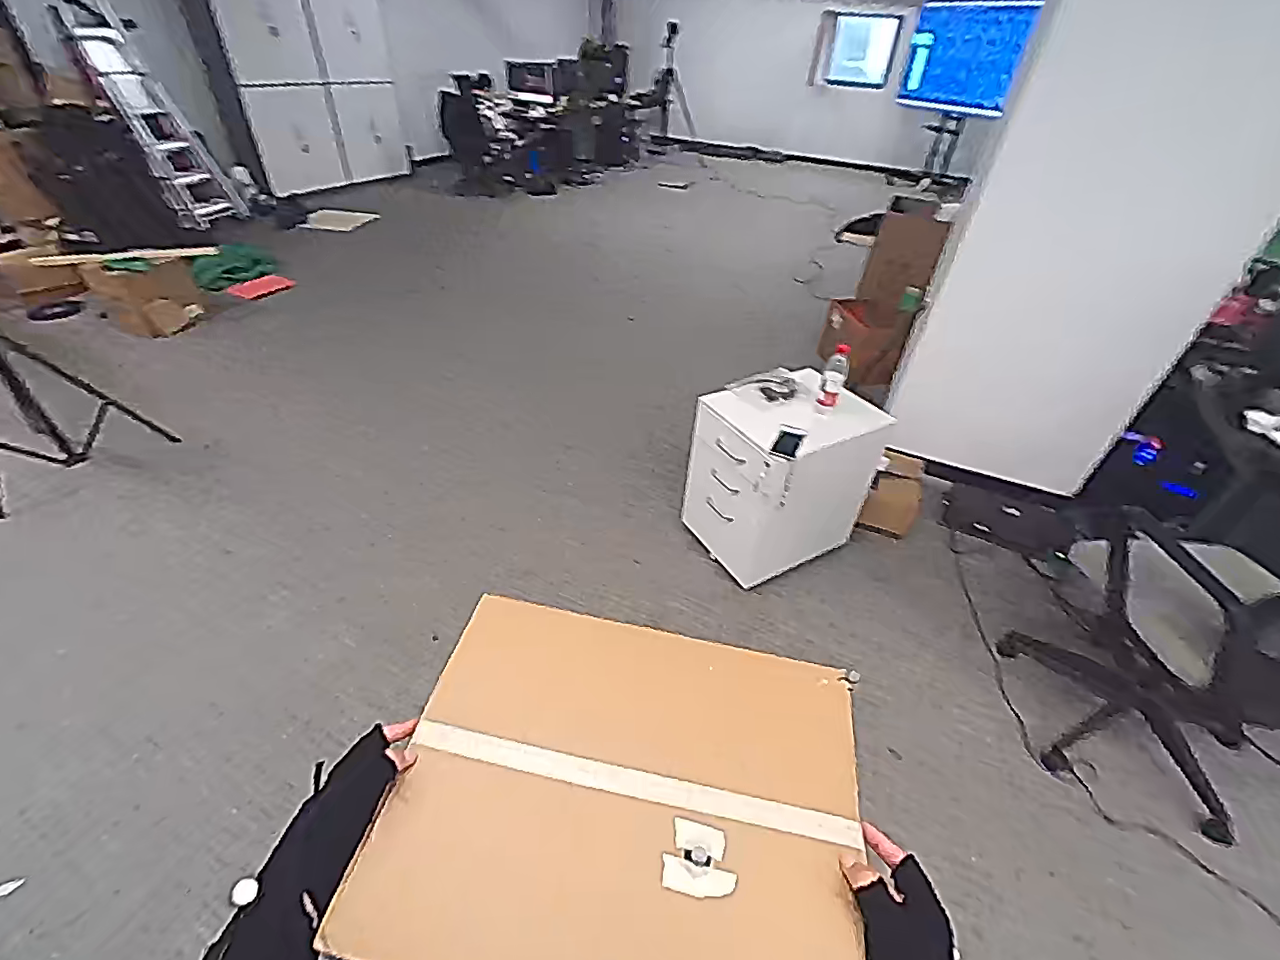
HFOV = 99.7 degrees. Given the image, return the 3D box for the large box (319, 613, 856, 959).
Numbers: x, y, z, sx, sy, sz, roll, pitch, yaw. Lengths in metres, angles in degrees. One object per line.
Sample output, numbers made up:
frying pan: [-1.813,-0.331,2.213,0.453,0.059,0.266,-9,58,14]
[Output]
large box: [-0.029,0.390,0.585,0.408,0.320,0.320,10,44,4]
